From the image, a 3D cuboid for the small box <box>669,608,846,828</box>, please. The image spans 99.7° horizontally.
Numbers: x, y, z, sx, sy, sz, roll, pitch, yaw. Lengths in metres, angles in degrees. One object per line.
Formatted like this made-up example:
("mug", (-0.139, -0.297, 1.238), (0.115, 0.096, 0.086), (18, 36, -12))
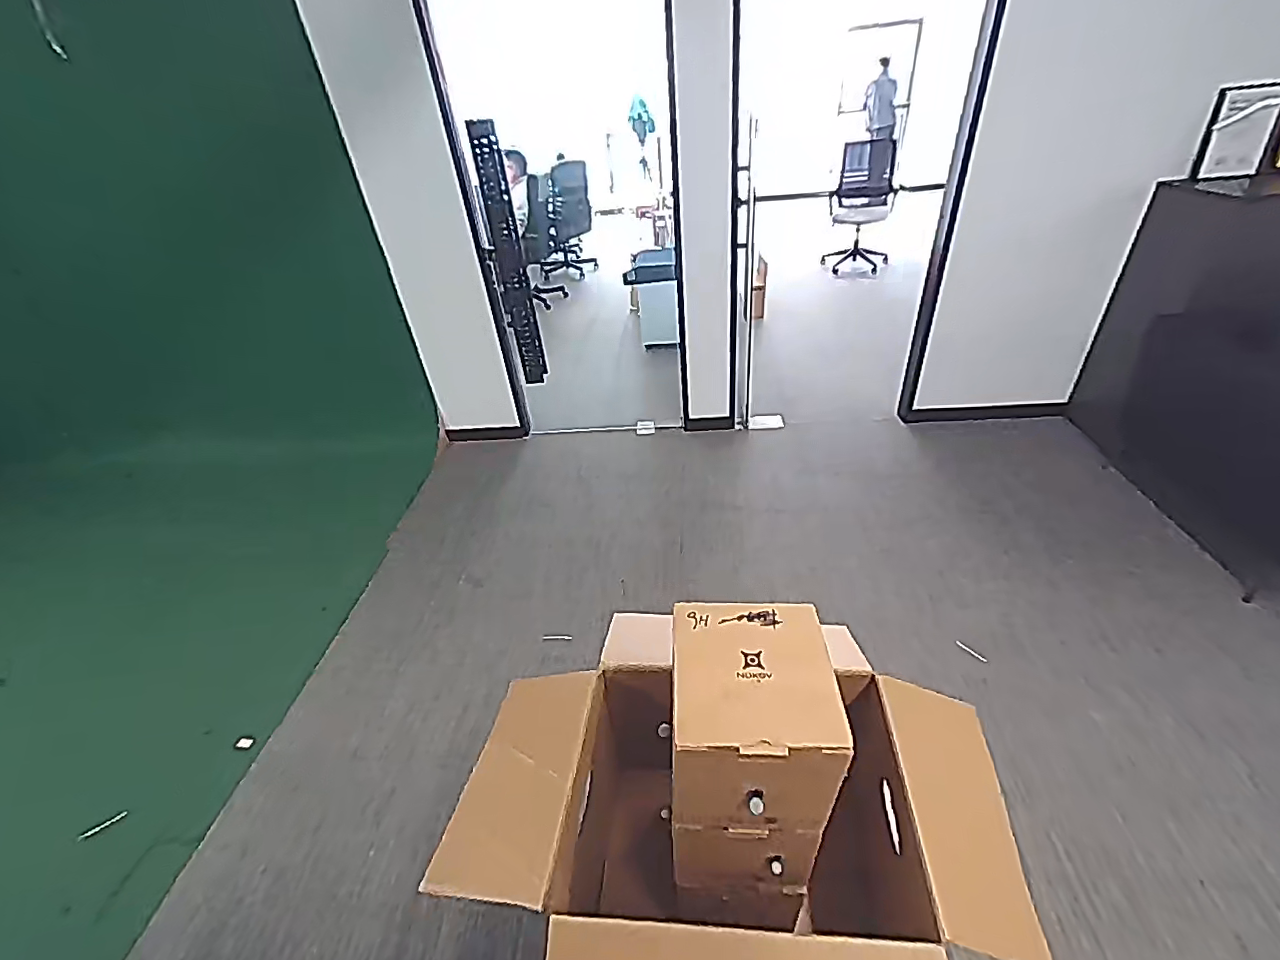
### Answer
("small box", (0.117, 0.267, 0.612), (0.168, 0.176, 0.179), (1, 36, 3))
